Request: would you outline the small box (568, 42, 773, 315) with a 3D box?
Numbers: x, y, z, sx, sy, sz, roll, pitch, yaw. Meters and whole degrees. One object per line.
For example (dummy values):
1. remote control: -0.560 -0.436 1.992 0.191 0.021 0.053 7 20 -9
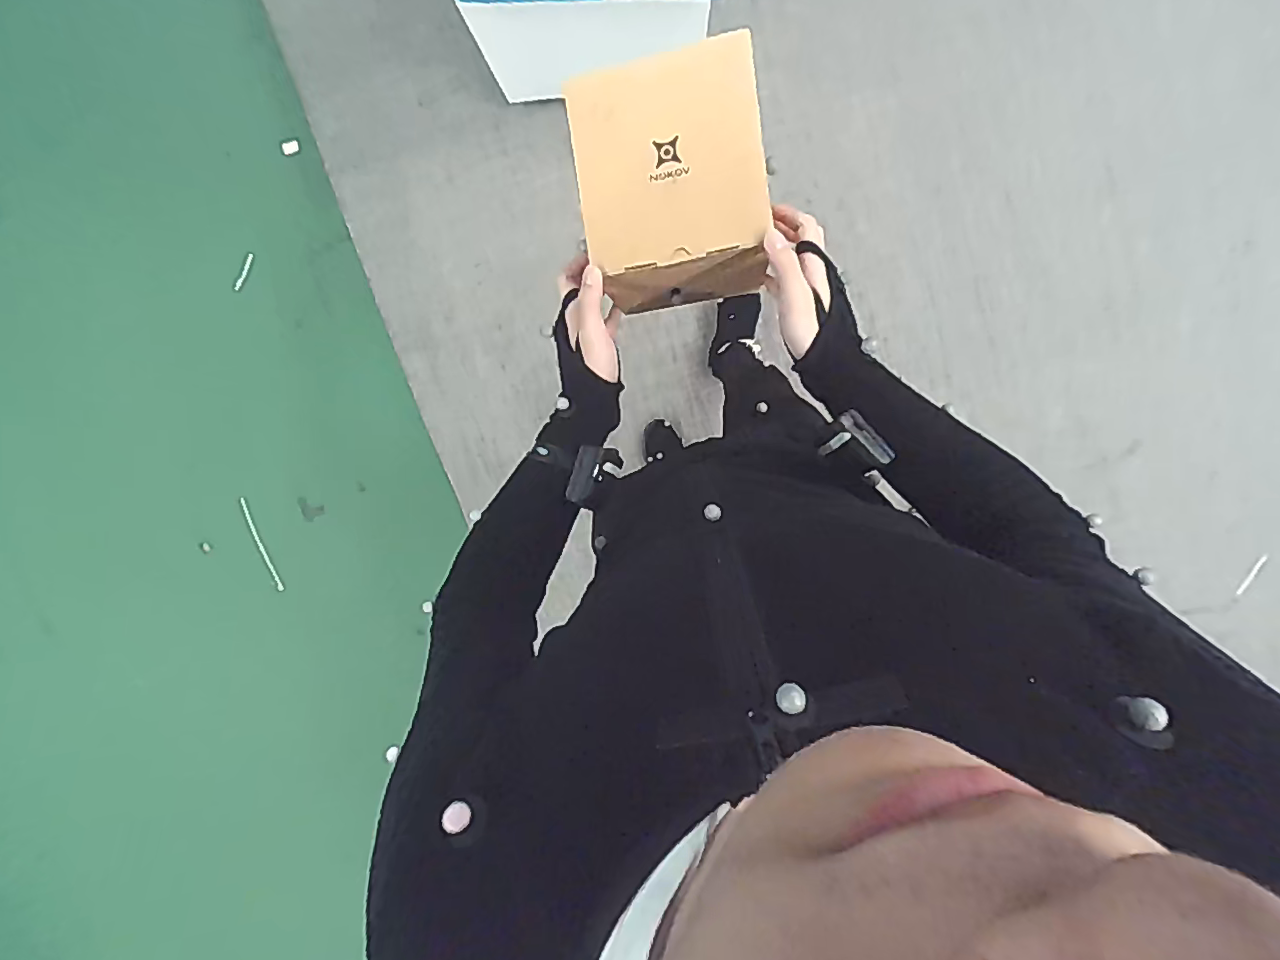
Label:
1. small box: 0.036 -0.284 0.552 0.168 0.176 0.179 -7 95 9
